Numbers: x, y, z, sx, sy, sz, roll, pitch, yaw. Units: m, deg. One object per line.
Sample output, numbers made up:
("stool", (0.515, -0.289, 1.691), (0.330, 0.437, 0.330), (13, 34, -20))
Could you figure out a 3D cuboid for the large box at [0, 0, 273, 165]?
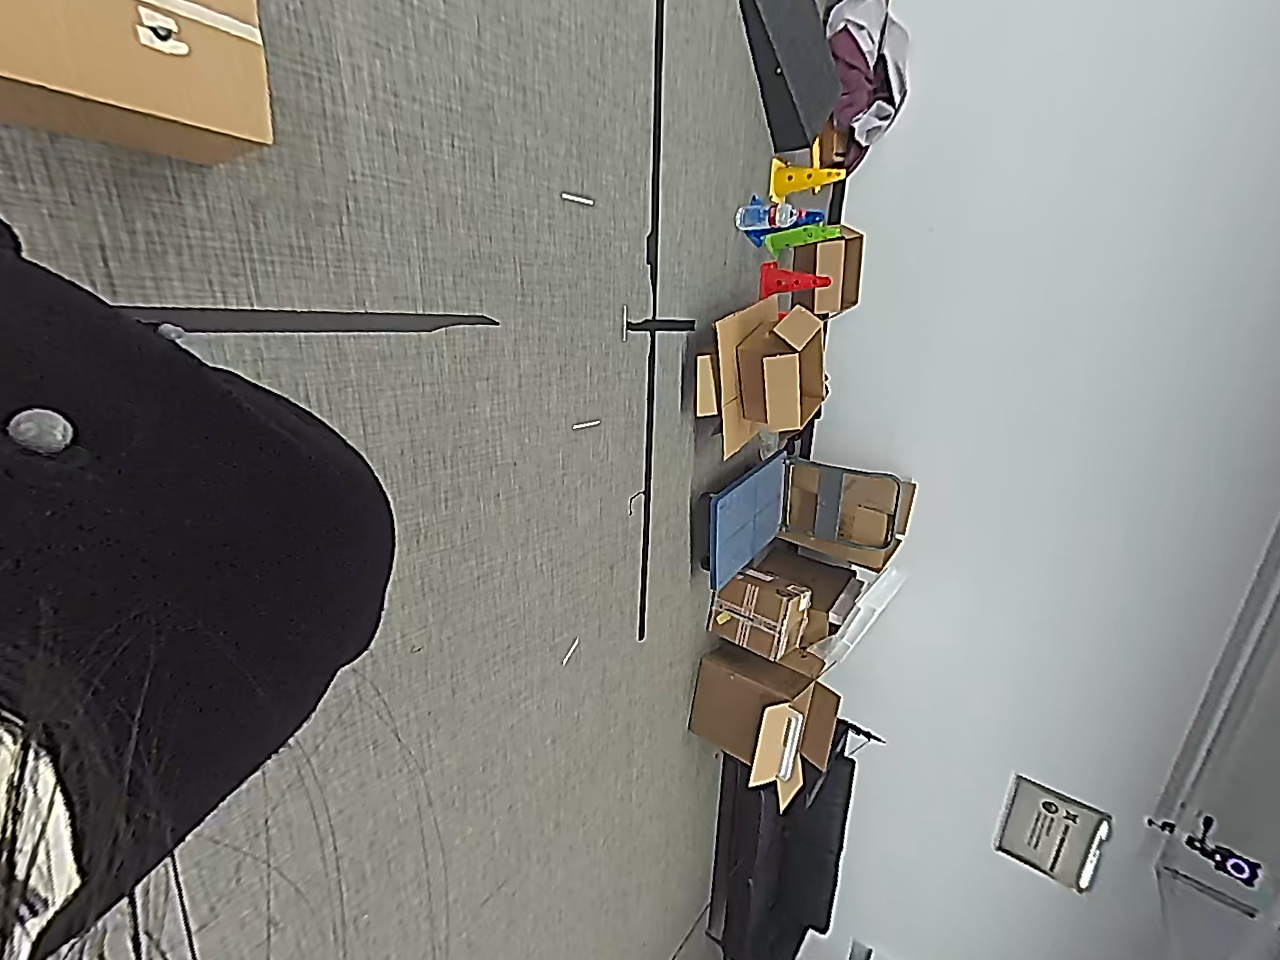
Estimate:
("large box", (-0.869, -0.721, 0.828), (0.408, 0.320, 0.320), (-17, 116, -51))
